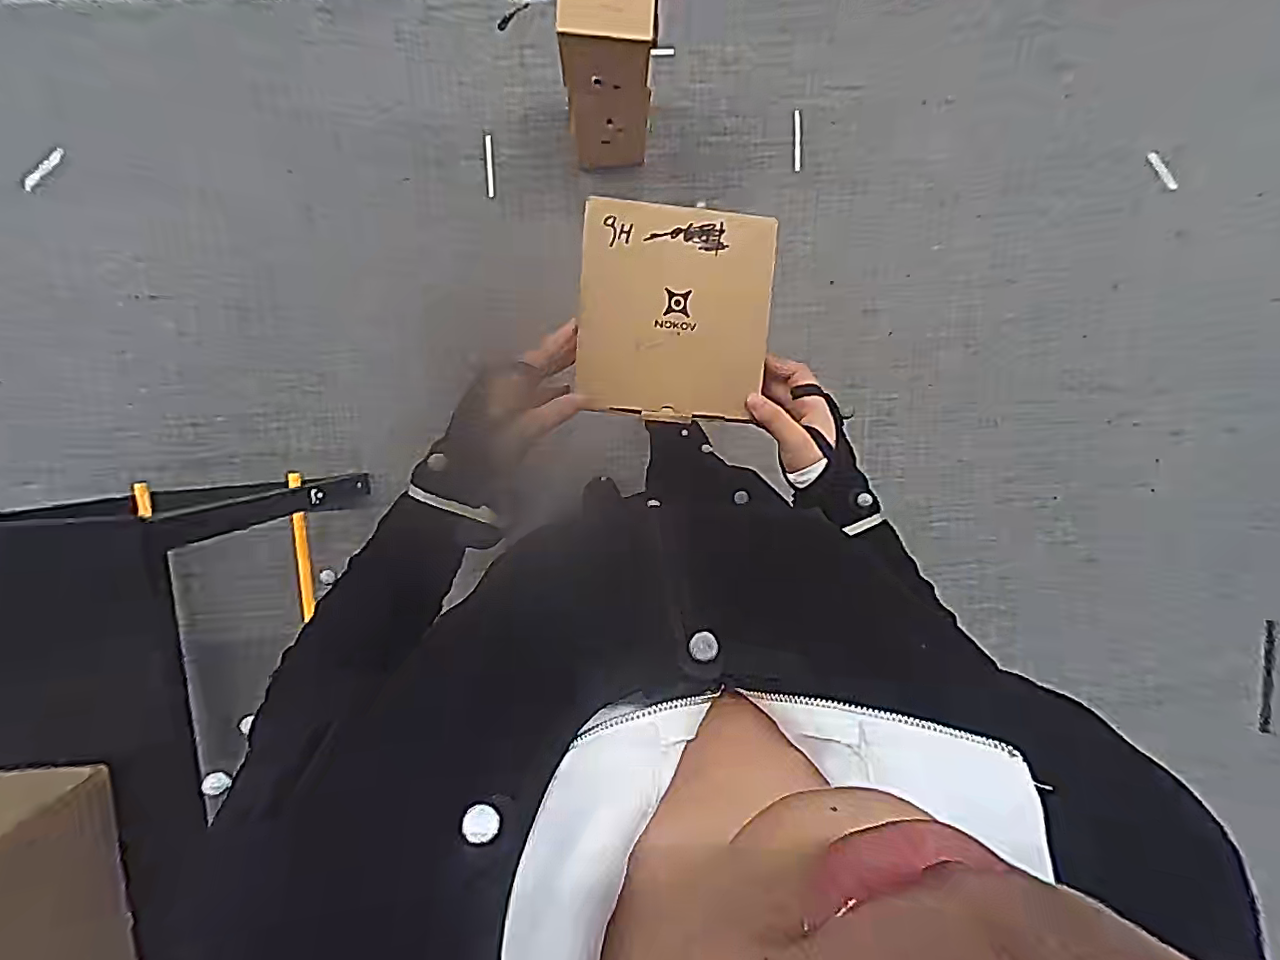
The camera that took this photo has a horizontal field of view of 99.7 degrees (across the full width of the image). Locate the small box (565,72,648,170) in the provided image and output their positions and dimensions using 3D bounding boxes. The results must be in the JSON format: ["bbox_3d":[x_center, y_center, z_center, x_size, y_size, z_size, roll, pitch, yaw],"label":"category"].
[{"bbox_3d":[-0.078,-0.871,1.301,0.179,0.176,0.168,-7,96,-3],"label":"small box"}]

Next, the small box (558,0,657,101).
[{"bbox_3d":[-0.056,-0.832,0.977,0.168,0.176,0.179,3,97,-3],"label":"small box"}]

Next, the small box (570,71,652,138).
[{"bbox_3d":[-0.064,-0.856,1.138,0.168,0.176,0.179,-3,96,-3],"label":"small box"}]

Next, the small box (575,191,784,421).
[{"bbox_3d":[0.026,-0.154,0.533,0.168,0.176,0.179,3,98,-6],"label":"small box"}]
